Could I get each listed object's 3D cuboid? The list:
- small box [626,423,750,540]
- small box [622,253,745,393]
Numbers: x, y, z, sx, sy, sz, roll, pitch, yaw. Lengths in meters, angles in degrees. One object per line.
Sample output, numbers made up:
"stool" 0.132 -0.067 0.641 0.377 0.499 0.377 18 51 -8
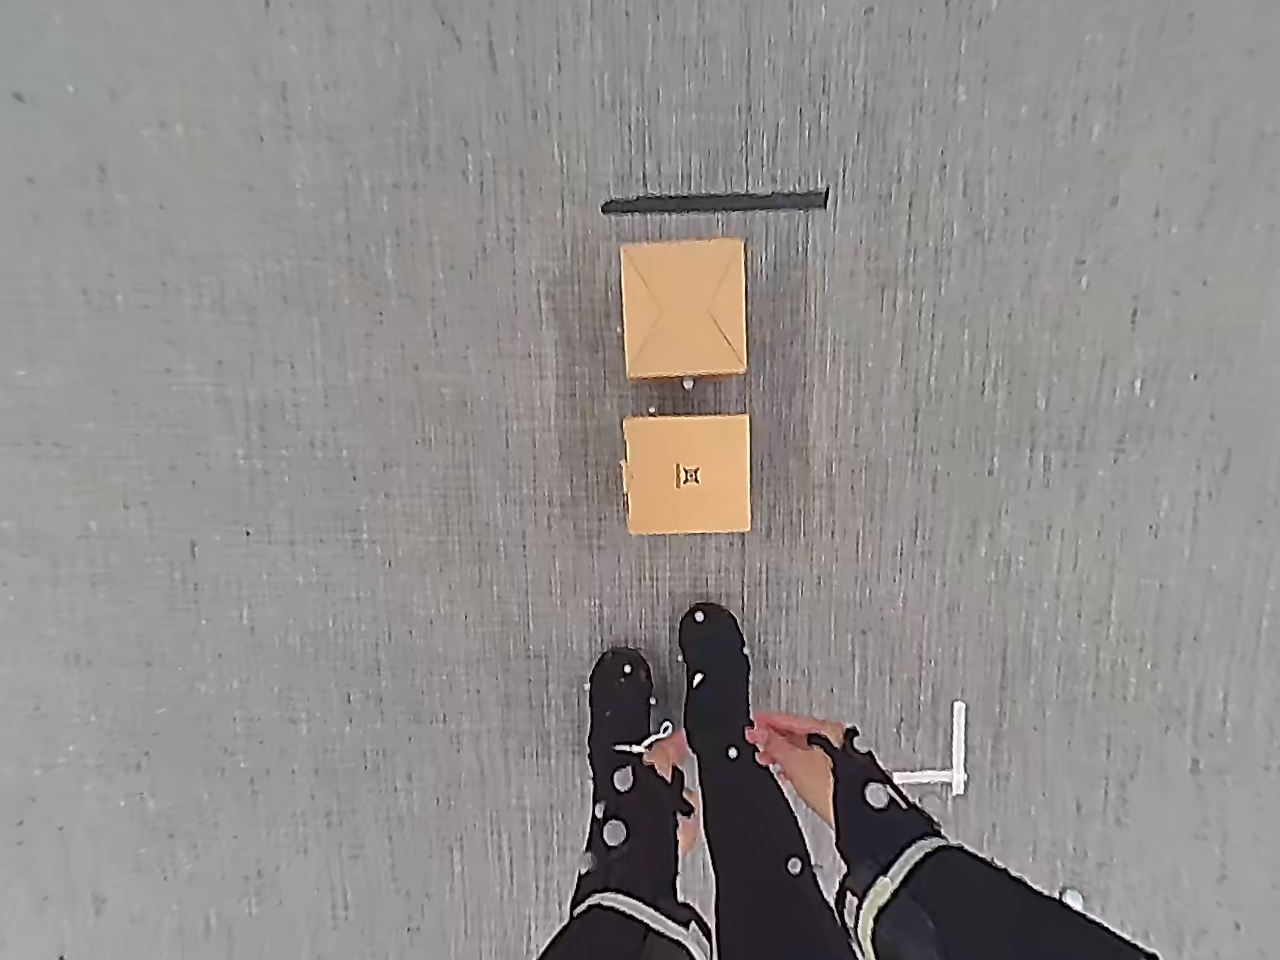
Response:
"small box" 0.068 -0.005 0.838 0.179 0.176 0.168 -1 96 1
"small box" 0.061 -0.227 0.812 0.168 0.176 0.179 -2 95 1
